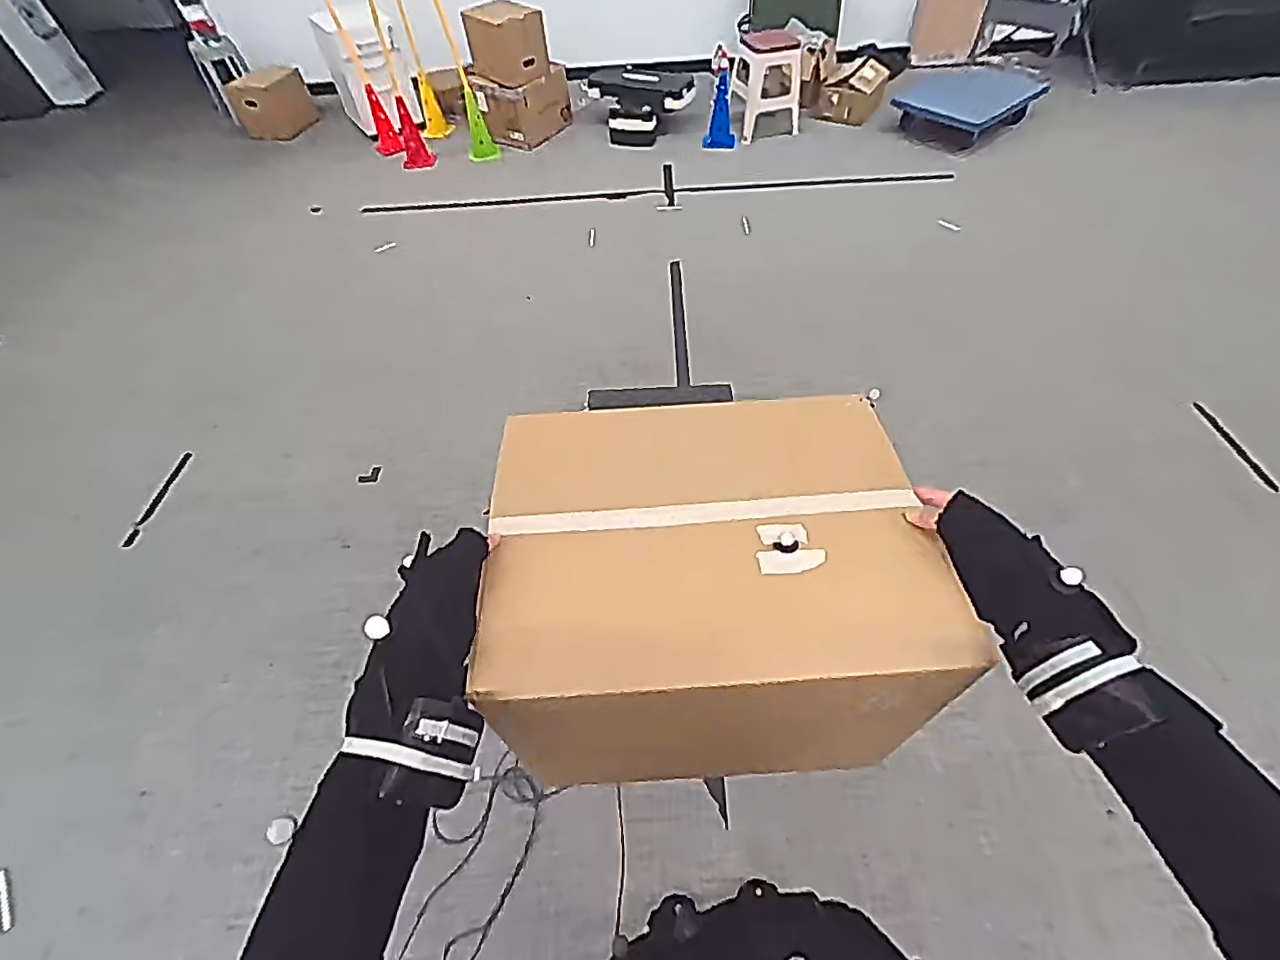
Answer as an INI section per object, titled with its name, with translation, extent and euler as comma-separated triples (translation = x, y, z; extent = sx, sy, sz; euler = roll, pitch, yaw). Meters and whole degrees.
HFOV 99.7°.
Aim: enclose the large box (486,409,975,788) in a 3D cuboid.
[large box]
translation = 0.068, 0.143, 0.636
extent = 0.408, 0.320, 0.320
euler = -4, 49, -1
